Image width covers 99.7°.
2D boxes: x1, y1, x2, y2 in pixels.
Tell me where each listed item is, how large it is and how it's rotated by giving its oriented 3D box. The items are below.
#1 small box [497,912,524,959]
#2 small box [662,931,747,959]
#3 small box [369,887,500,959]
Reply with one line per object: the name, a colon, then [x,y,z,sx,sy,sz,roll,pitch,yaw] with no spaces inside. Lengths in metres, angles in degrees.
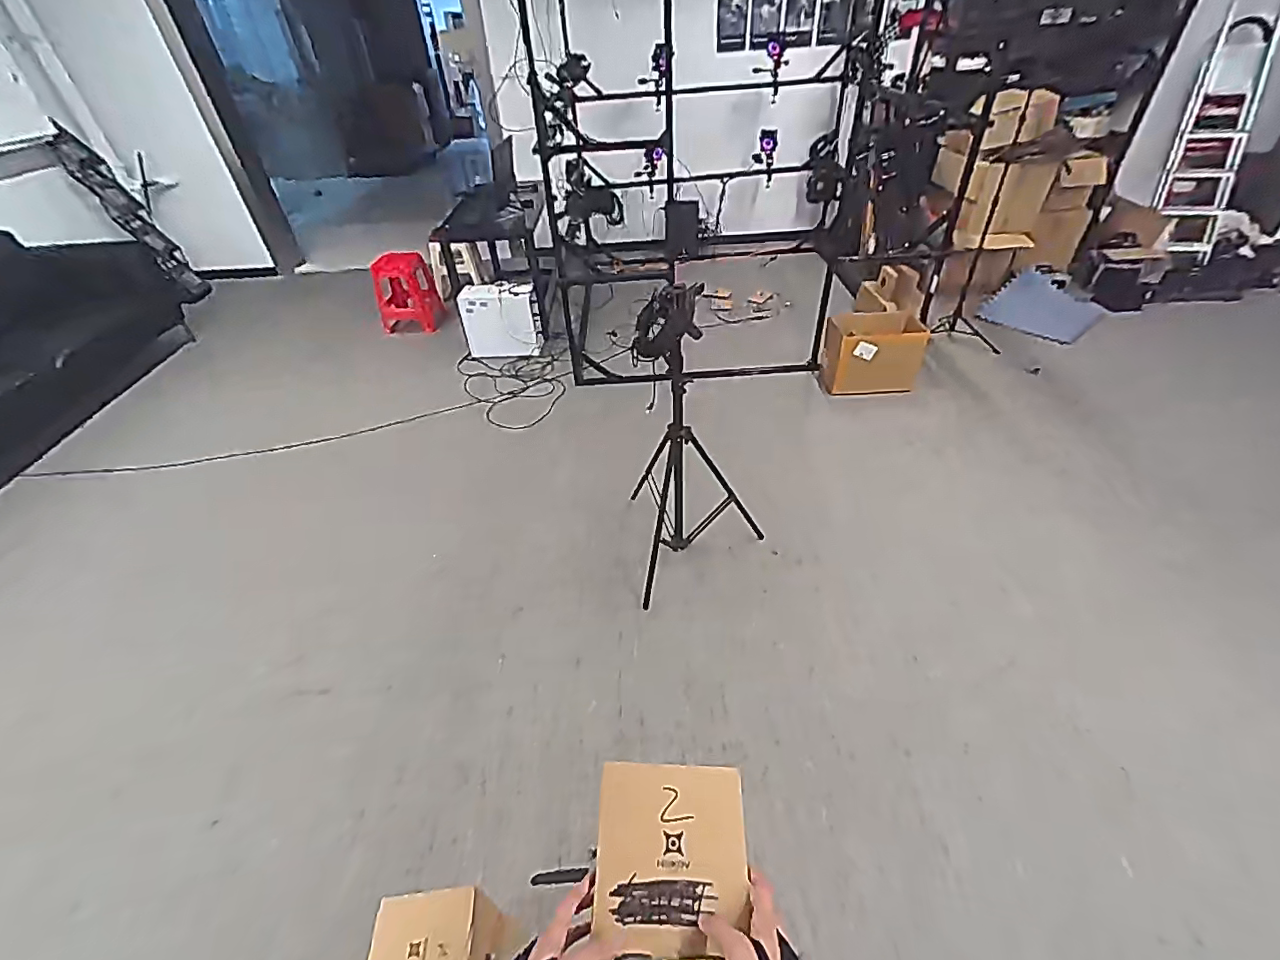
small box: [-0.336,0.978,1.063,0.168,0.176,0.179,-2,40,5]
small box: [0.140,1.083,1.148,0.179,0.176,0.168,-2,40,1]
small box: [-0.362,0.853,0.958,0.179,0.176,0.168,-6,40,-1]
